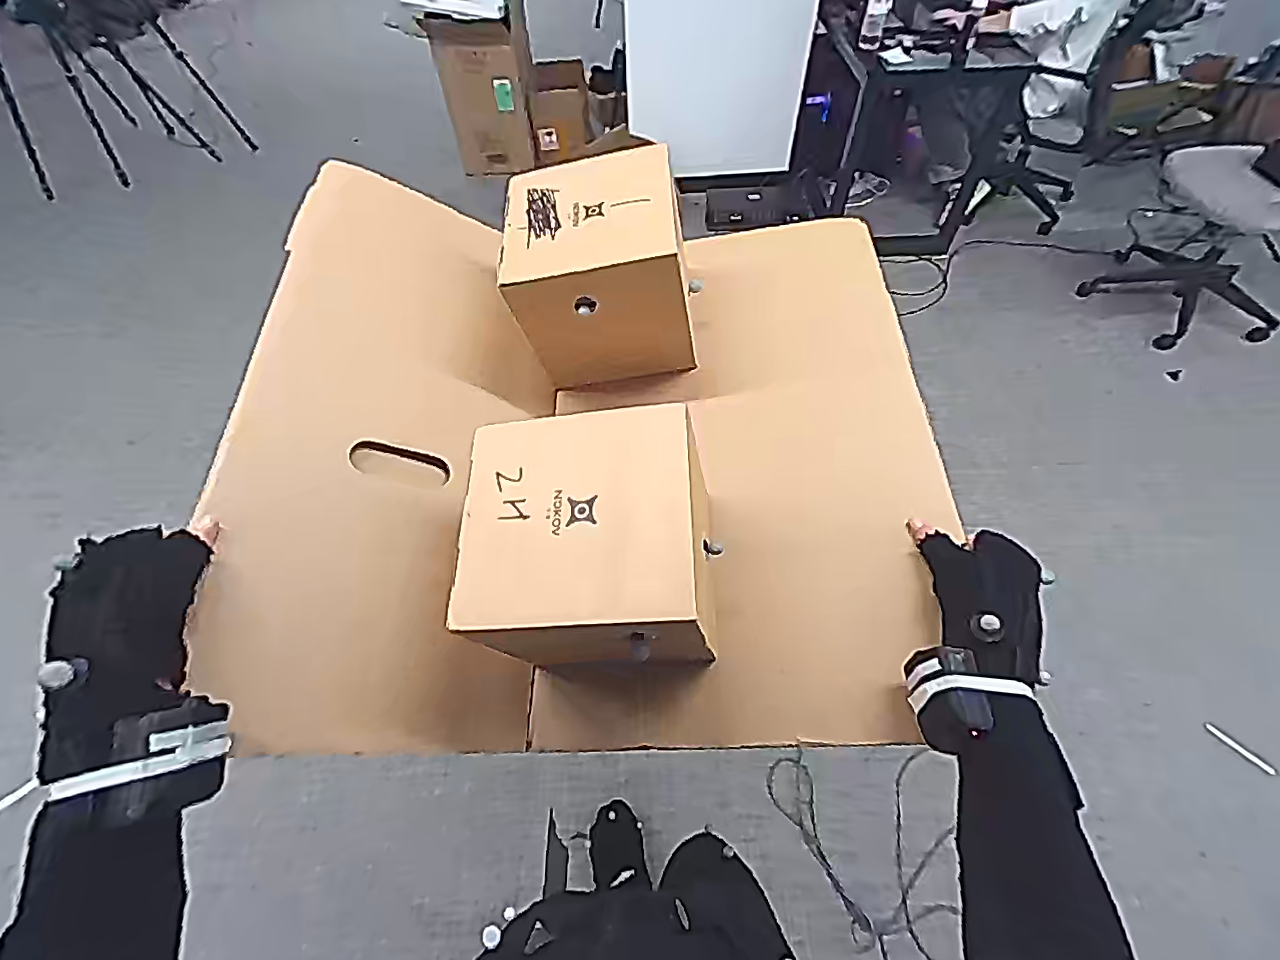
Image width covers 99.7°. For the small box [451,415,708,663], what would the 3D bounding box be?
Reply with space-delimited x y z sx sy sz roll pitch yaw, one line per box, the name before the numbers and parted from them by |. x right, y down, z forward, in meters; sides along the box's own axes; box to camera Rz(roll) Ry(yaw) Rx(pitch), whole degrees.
small box | -0.033 0.062 0.473 0.179 0.176 0.168 -5 63 11

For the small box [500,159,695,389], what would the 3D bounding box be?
small box | -0.038 -0.222 0.619 0.179 0.176 0.168 -7 62 9
